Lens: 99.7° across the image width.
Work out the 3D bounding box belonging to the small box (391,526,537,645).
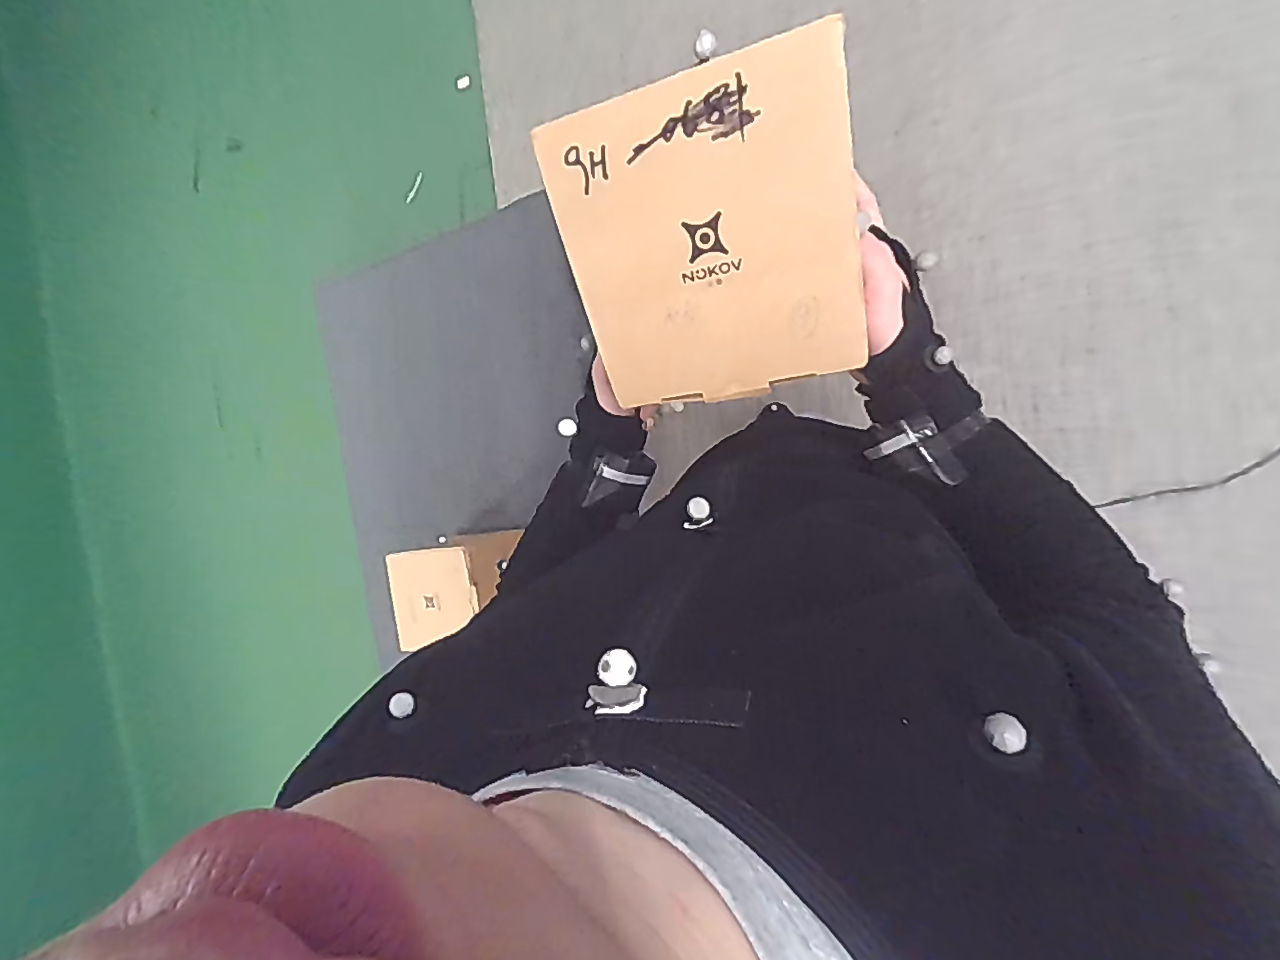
[{"bbox_3d":[-0.296,0.179,0.946,0.179,0.176,0.168,-8,92,26],"label":"small box"}]

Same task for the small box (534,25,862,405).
[{"bbox_3d":[0.056,-0.177,0.379,0.168,0.176,0.179,-7,122,18],"label":"small box"}]
